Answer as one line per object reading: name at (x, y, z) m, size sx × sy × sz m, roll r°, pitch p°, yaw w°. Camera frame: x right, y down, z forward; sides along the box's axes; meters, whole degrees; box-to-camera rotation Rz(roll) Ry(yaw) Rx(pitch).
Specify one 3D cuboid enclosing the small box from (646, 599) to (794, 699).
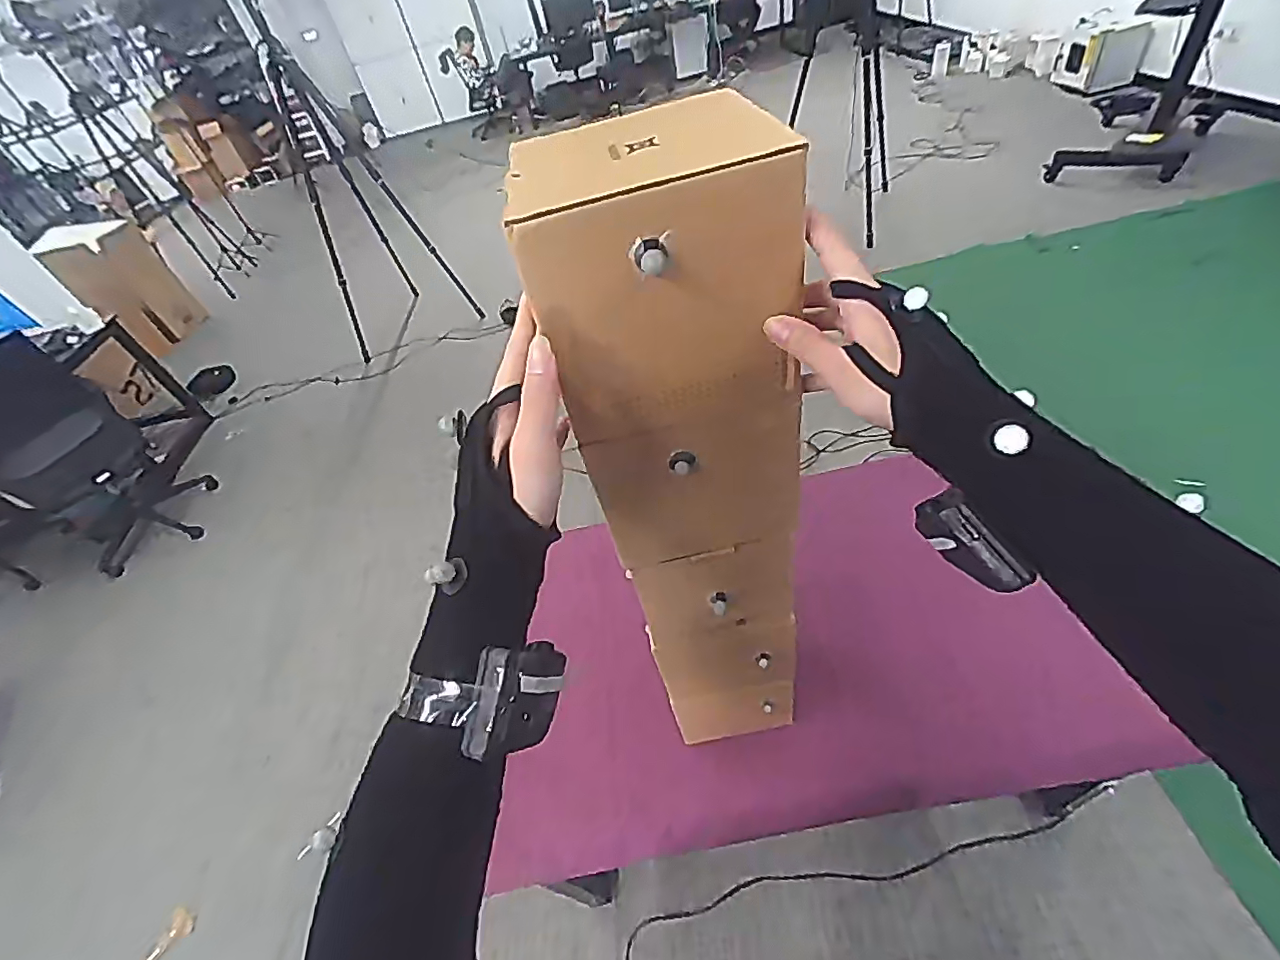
small box at (0.102, 0.180, 0.749) m, size 0.179 × 0.176 × 0.168 m, roll -13°, pitch 45°, yaw 3°

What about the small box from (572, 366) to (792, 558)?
small box at (0.039, -0.046, 0.521) m, size 0.179 × 0.176 × 0.168 m, roll -13°, pitch 44°, yaw 2°

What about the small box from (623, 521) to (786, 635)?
small box at (0.069, 0.065, 0.639) m, size 0.168 × 0.176 × 0.179 m, roll -13°, pitch 45°, yaw 2°

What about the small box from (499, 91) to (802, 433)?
small box at (0.010, -0.160, 0.410) m, size 0.179 × 0.176 × 0.168 m, roll -14°, pitch 45°, yaw 3°
